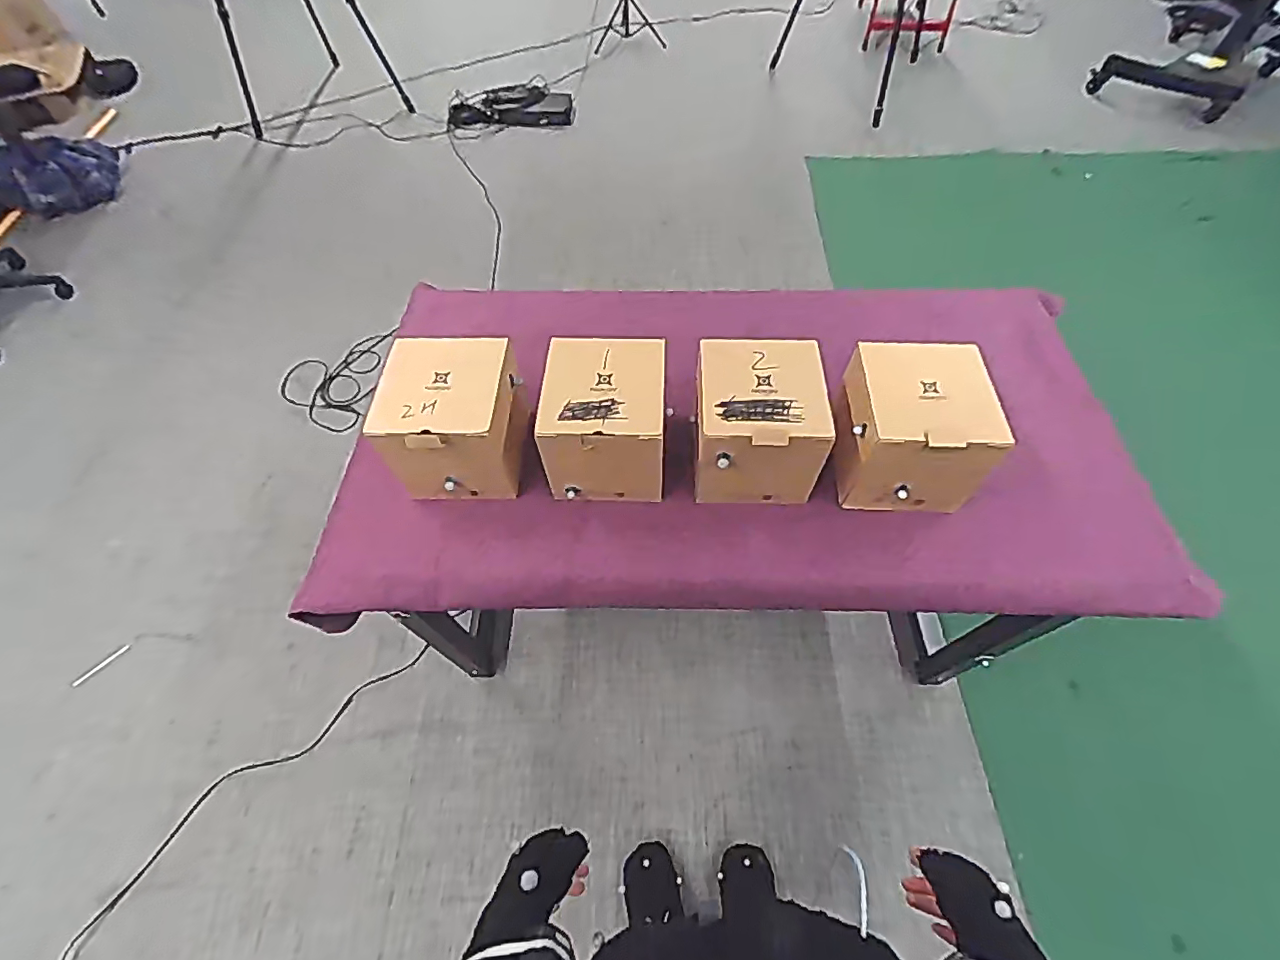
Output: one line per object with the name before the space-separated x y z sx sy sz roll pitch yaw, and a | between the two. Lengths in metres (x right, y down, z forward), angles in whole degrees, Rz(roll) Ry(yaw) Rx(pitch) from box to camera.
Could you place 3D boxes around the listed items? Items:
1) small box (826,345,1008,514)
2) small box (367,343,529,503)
small box | 0.380 -0.071 0.781 0.168 0.176 0.179 2 57 3
small box | -0.269 -0.082 0.807 0.168 0.176 0.179 0 58 2
